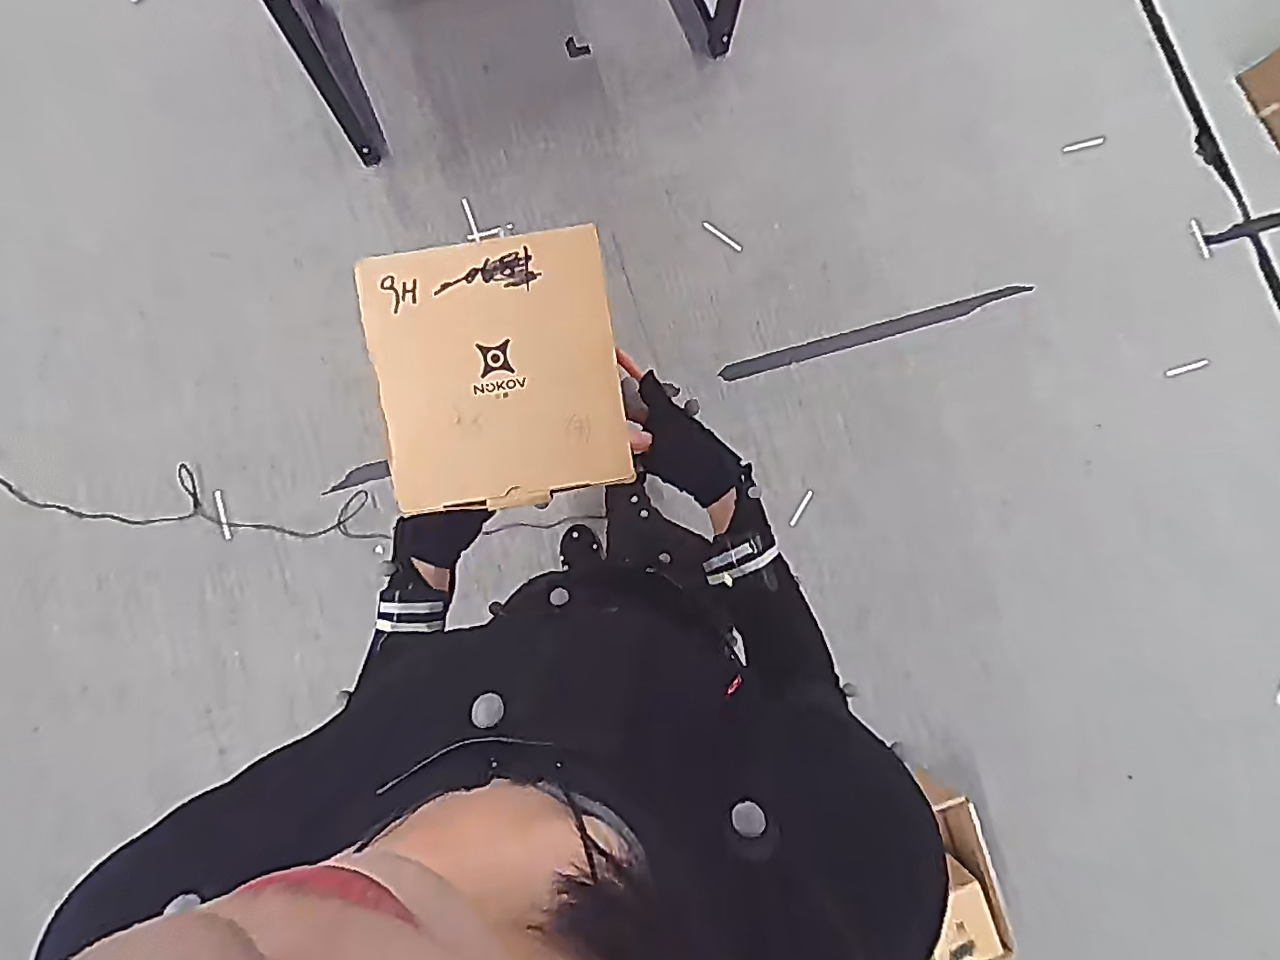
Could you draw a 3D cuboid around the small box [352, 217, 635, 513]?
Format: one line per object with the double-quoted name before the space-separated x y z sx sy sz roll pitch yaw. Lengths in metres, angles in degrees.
"small box" -0.094 -0.081 0.434 0.168 0.176 0.179 -9 94 -1
